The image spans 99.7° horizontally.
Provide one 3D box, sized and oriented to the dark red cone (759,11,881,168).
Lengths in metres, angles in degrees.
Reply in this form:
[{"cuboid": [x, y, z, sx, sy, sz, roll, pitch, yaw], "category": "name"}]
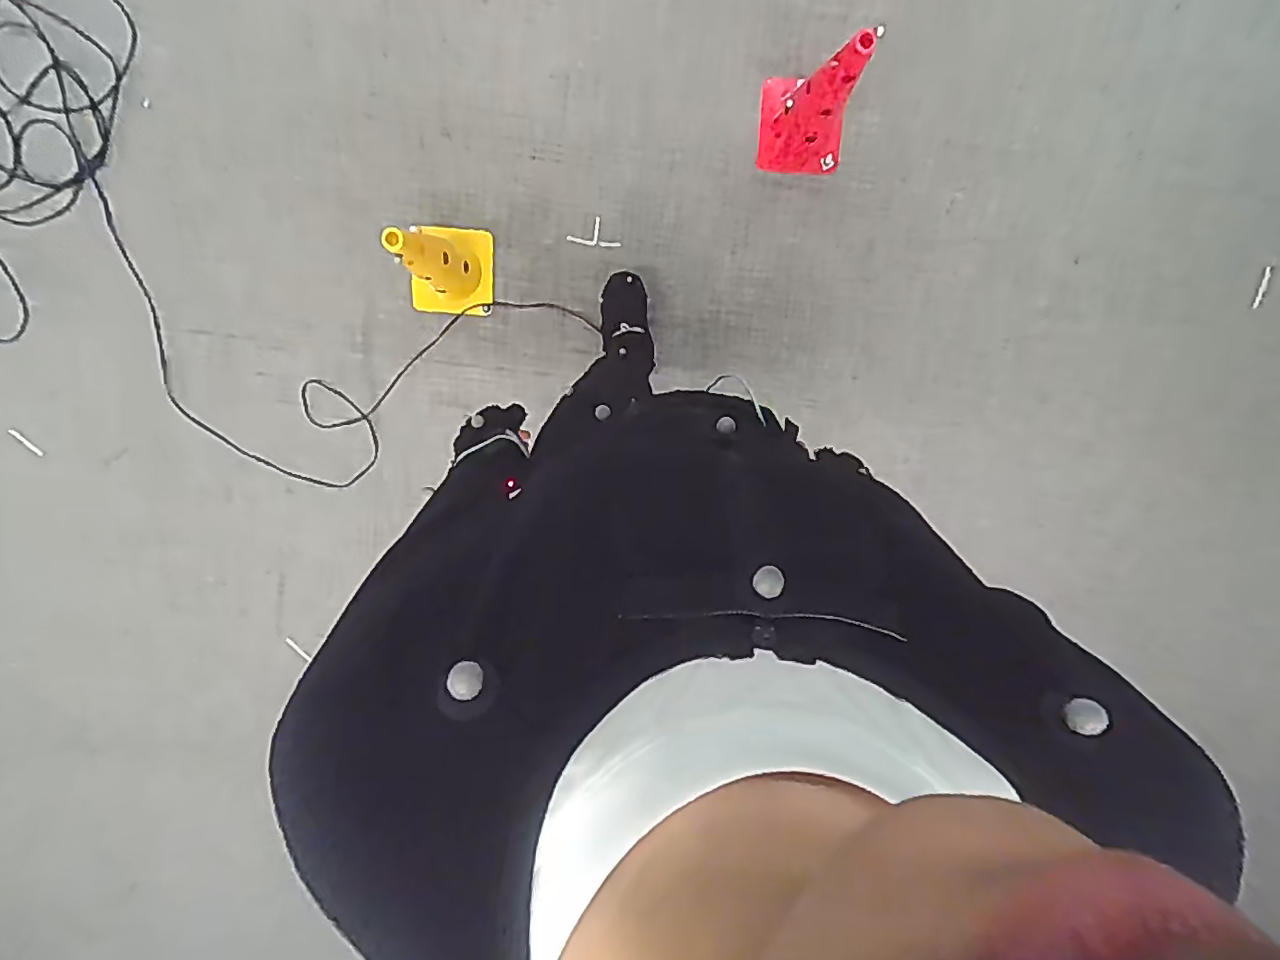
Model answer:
[{"cuboid": [0.387, -0.806, 1.101, 0.202, 0.394, 0.201, 1, 101, -2], "category": "dark red cone"}]
